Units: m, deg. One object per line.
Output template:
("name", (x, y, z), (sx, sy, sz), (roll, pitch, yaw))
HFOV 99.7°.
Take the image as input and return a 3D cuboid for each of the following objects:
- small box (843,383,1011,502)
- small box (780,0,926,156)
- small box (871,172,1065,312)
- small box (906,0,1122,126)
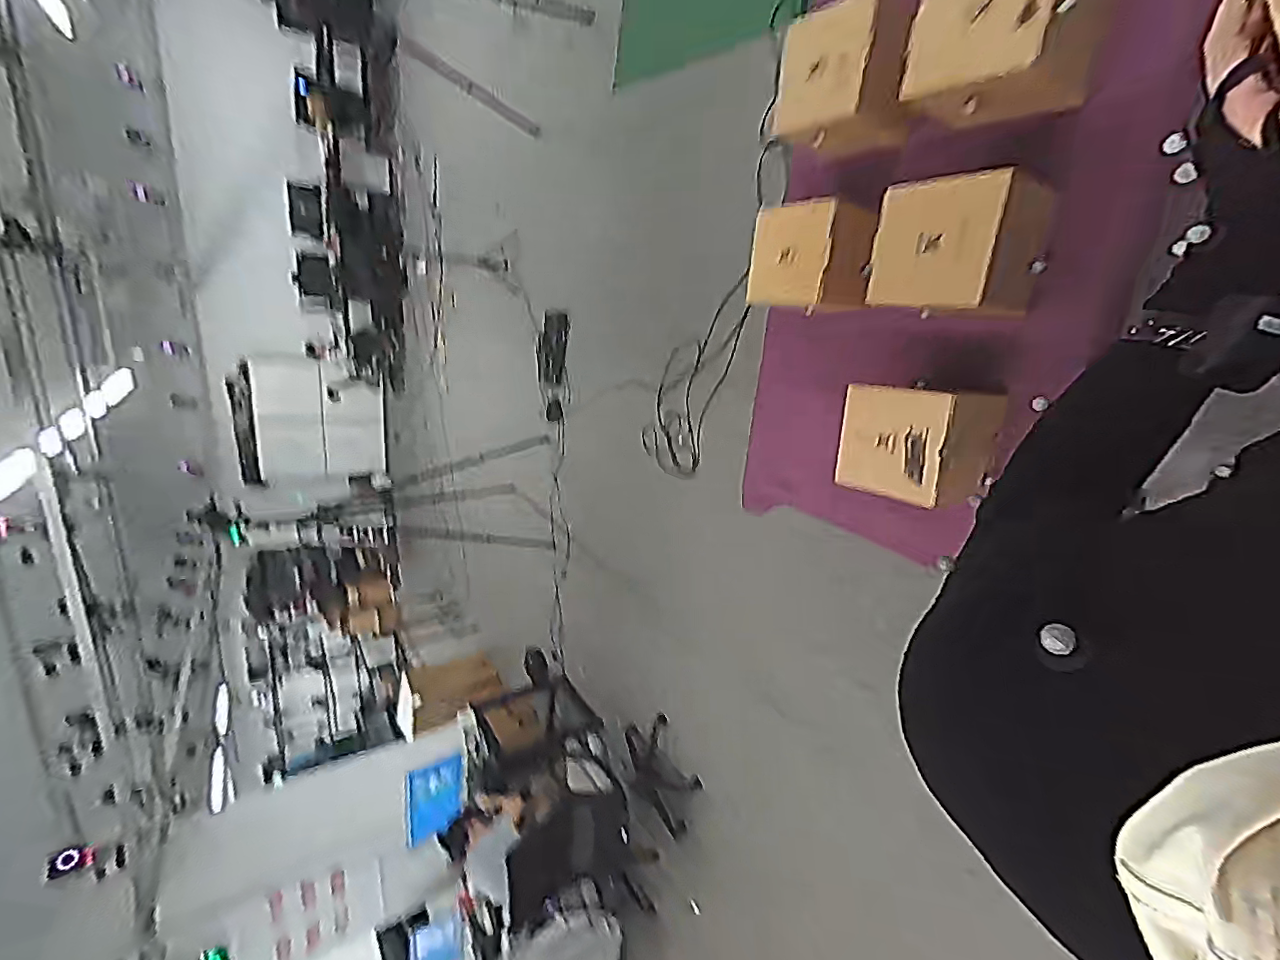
("small box", (0.471, -0.071, 0.893), (0.179, 0.176, 0.168), (24, 115, 56))
("small box", (0.377, -0.683, 0.938), (0.179, 0.176, 0.168), (29, 119, 51))
("small box", (0.492, -0.348, 0.821), (0.179, 0.176, 0.168), (27, 119, 52))
("small box", (0.511, -0.613, 0.742), (0.179, 0.176, 0.168), (30, 120, 53))
